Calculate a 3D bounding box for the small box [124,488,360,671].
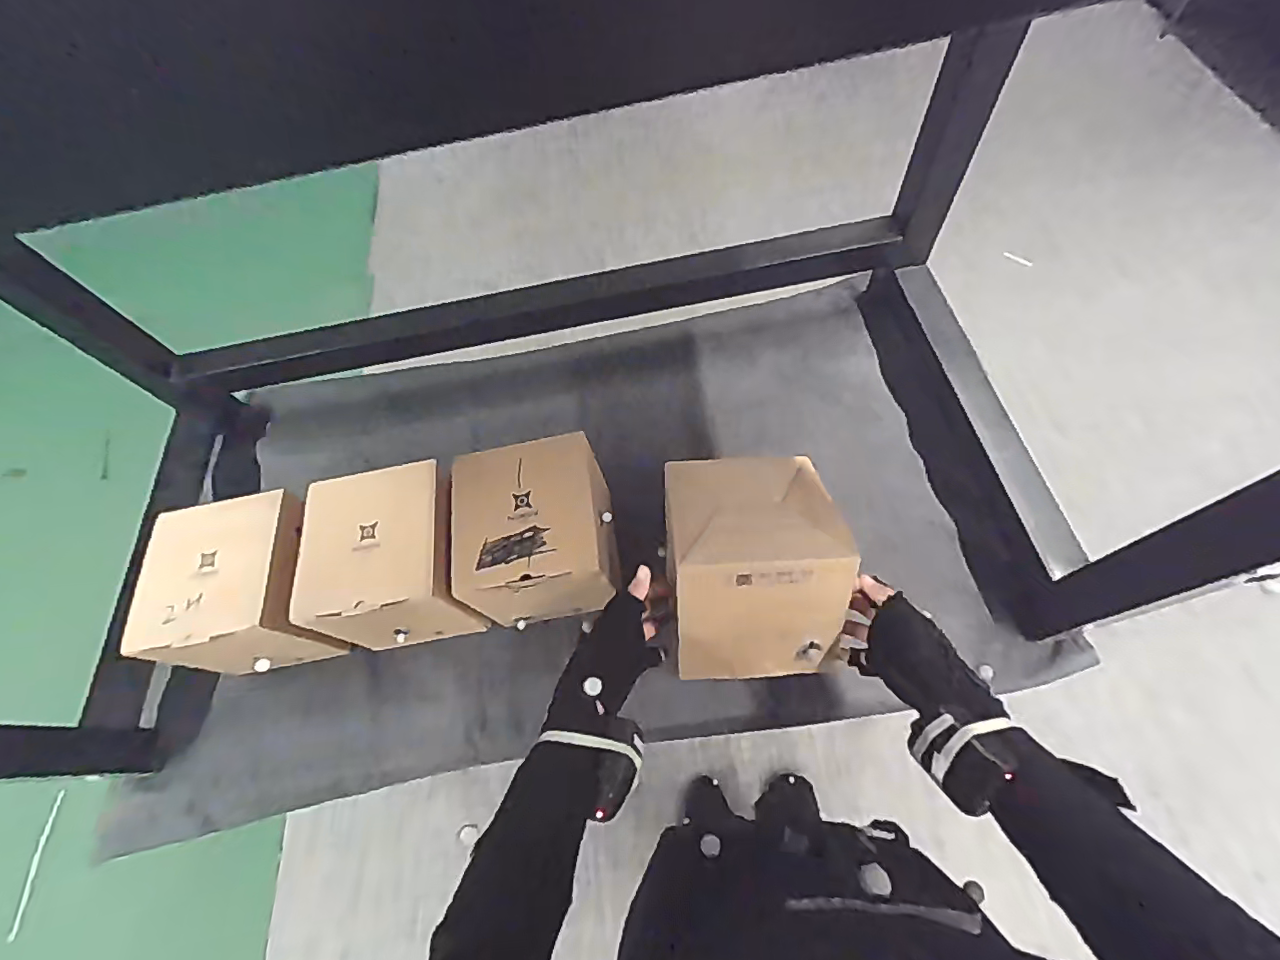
[{"bbox_3d":[-0.492,0.135,0.702,0.168,0.176,0.179,-12,62,3],"label":"small box"}]
